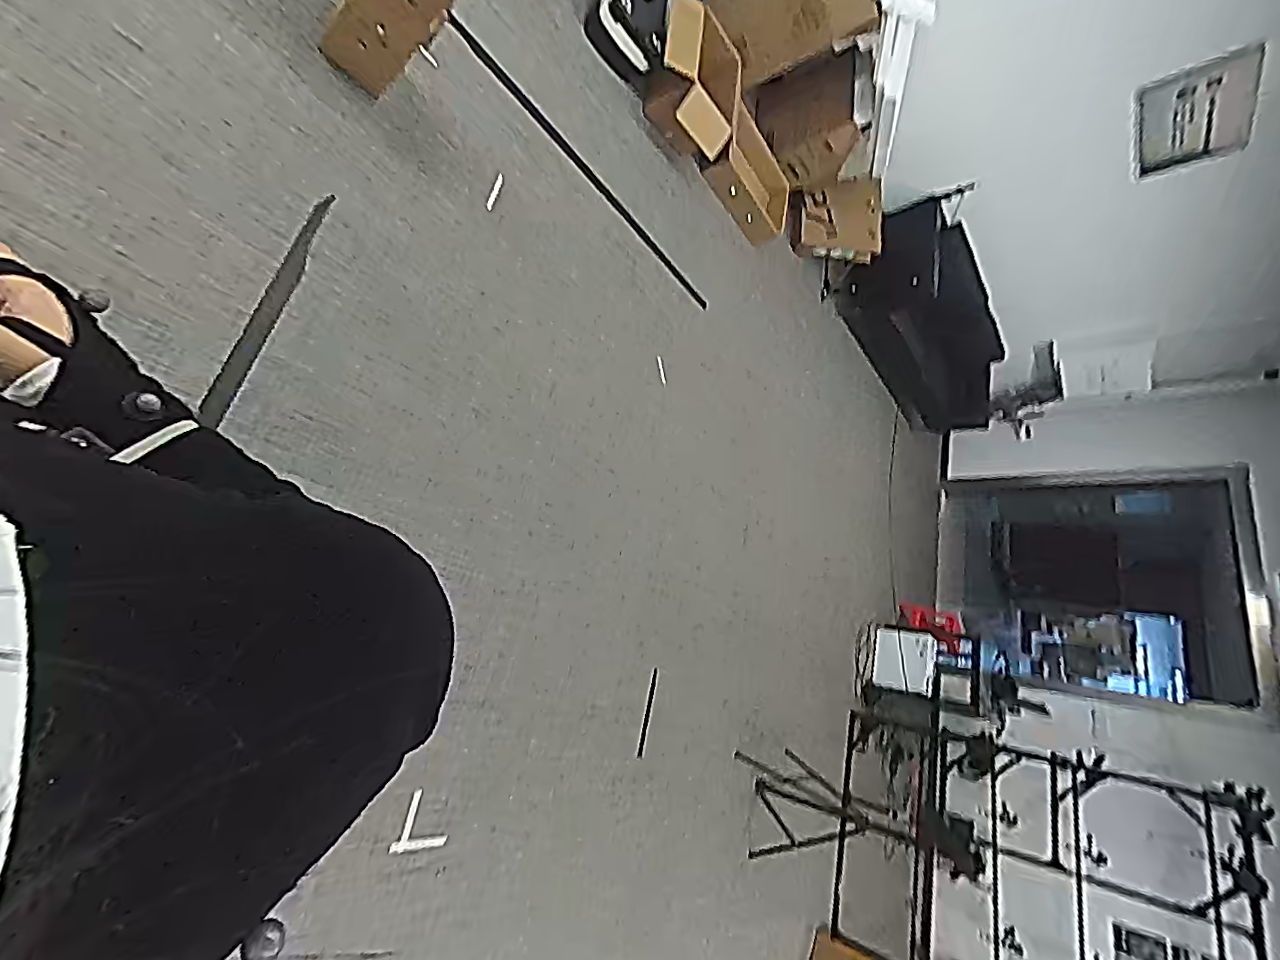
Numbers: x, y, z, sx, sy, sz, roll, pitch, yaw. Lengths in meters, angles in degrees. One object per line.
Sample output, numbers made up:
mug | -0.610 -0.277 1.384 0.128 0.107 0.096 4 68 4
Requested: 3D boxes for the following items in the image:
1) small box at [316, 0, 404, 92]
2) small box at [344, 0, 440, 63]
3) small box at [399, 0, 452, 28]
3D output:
small box | -0.739 -1.210 1.463 0.179 0.176 0.168 28 67 -46
small box | -0.611 -1.216 1.360 0.168 0.176 0.179 32 64 -44
small box | -0.489 -1.217 1.252 0.168 0.176 0.179 39 61 -40
